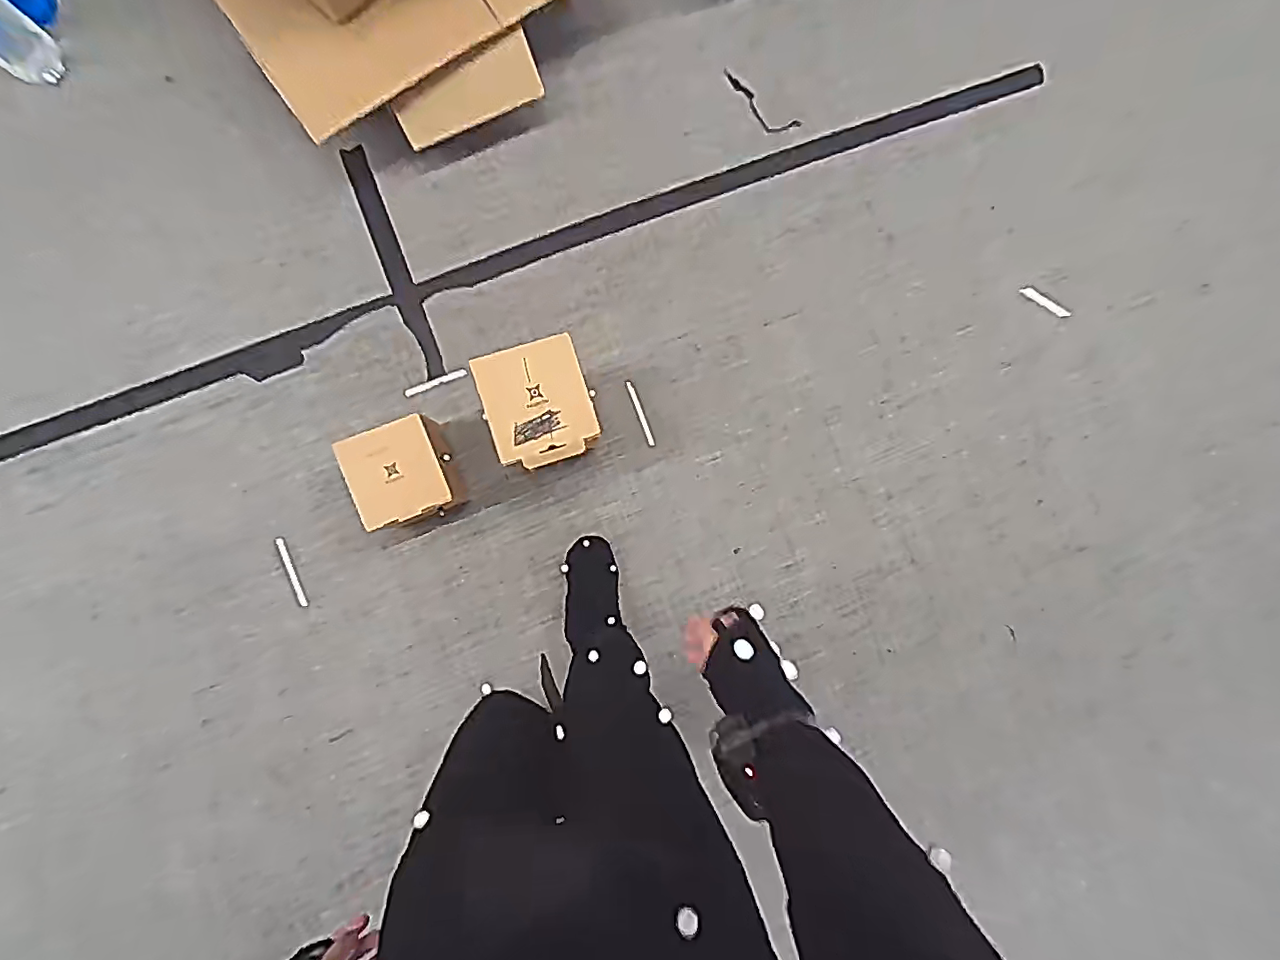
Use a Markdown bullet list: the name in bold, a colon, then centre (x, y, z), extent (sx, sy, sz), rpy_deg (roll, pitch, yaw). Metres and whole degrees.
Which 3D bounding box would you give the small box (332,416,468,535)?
- **small box**: centre (-0.456, -0.008, 1.059), extent (0.168, 0.176, 0.179), rpy_deg (-22, 90, -7)

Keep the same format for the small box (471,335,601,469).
- **small box**: centre (-0.168, -0.123, 0.924), extent (0.168, 0.176, 0.179), rpy_deg (-18, 90, -6)
